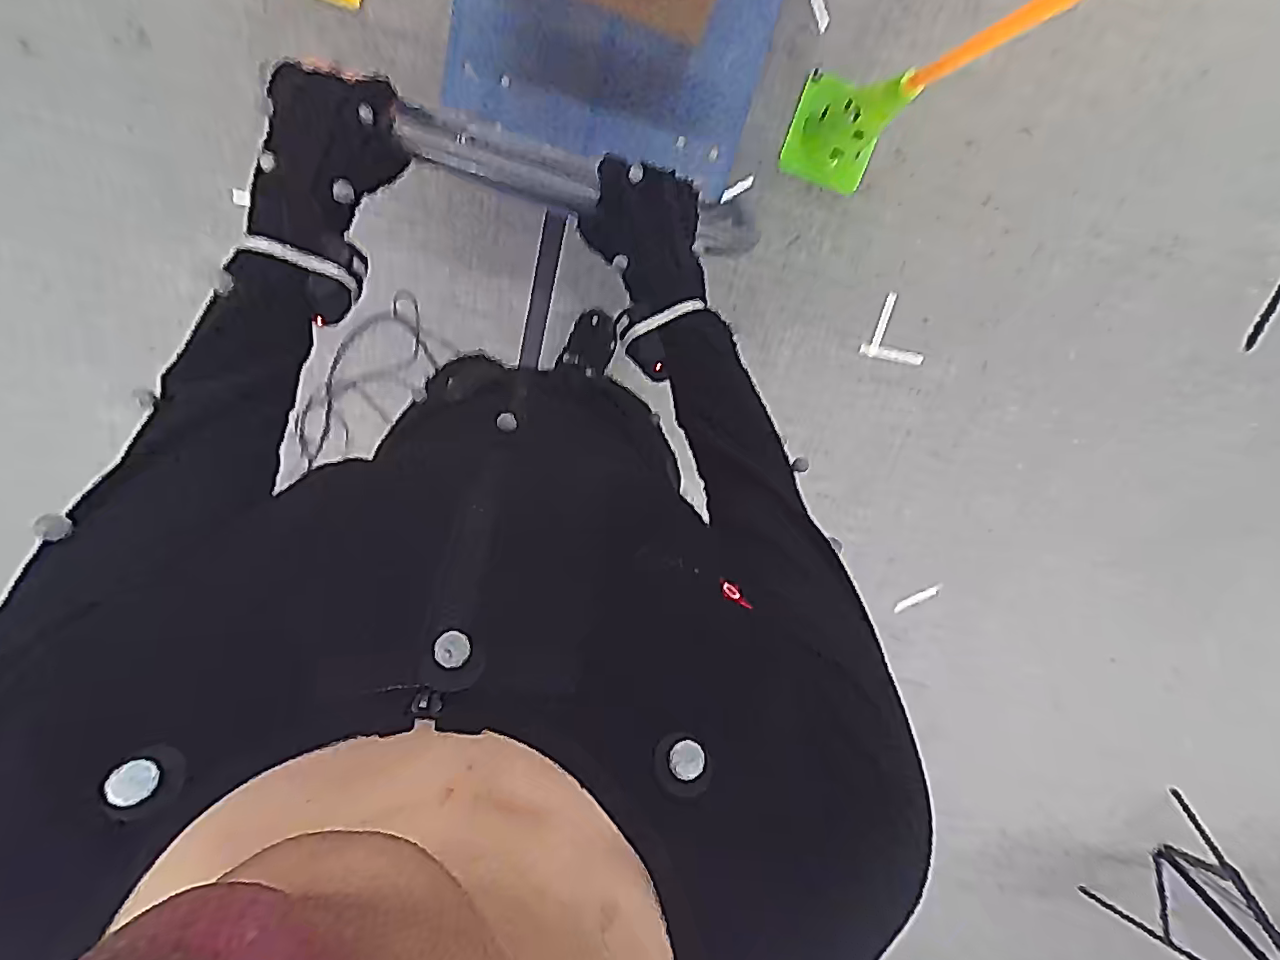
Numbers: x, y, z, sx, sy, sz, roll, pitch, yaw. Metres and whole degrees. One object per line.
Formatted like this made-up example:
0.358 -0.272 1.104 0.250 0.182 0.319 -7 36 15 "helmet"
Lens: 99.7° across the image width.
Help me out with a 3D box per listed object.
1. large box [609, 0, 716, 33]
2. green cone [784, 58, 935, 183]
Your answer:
-0.028 -0.957 0.798 0.408 0.320 0.320 16 112 -7 "large box"
0.453 -0.737 1.055 0.202 0.368 0.200 15 111 -9 "green cone"
